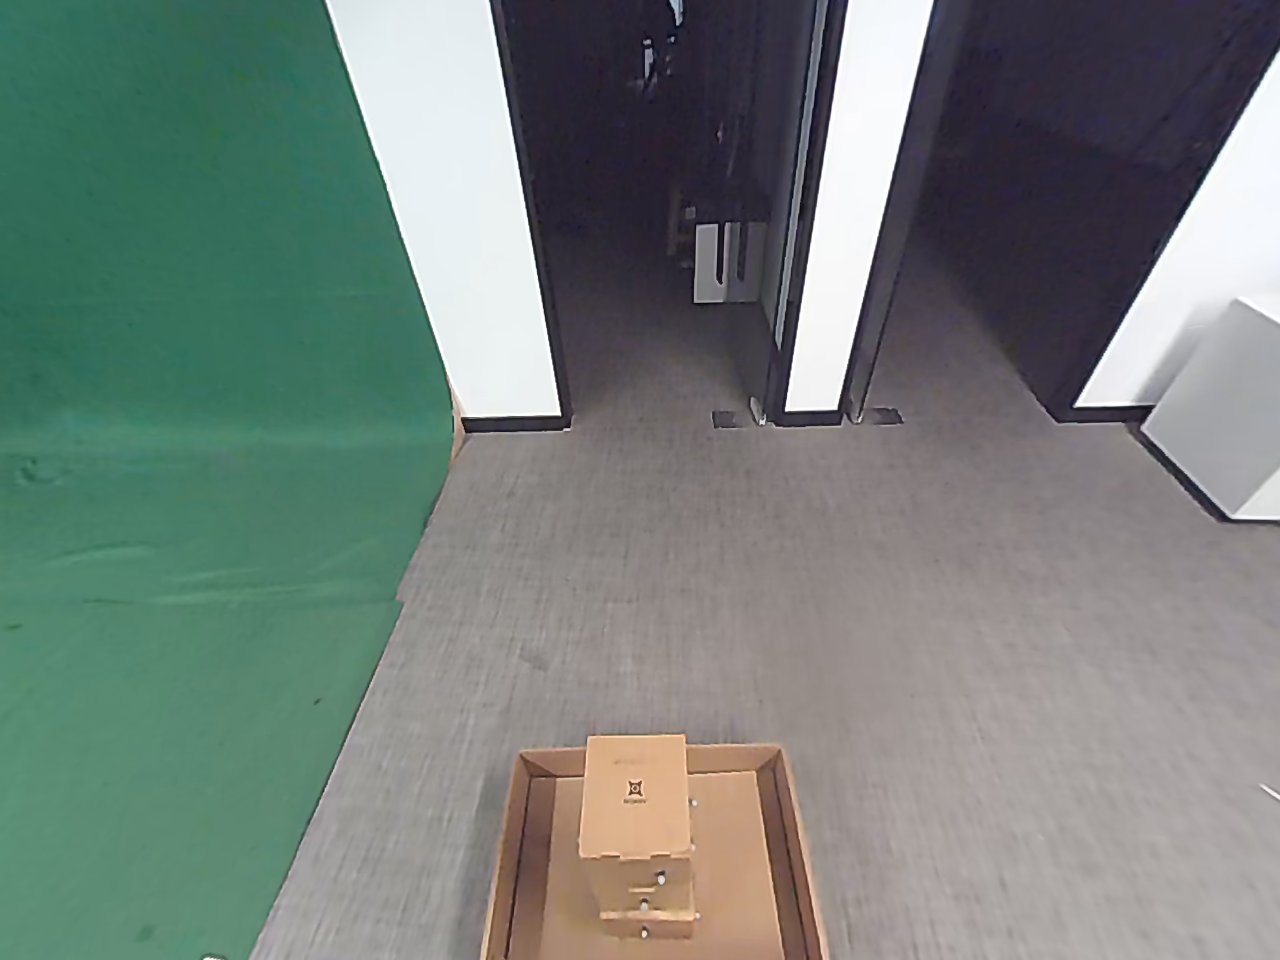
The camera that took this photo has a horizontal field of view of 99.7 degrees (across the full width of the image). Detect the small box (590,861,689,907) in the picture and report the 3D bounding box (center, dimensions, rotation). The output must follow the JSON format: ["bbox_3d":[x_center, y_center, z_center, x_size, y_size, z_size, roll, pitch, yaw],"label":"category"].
[{"bbox_3d":[0.001,0.681,1.018,0.168,0.176,0.179,-5,40,1],"label":"small box"}]

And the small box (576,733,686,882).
[{"bbox_3d":[-0.008,0.545,0.898,0.168,0.176,0.179,-1,40,1],"label":"small box"}]

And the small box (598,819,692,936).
[{"bbox_3d":[0.016,0.813,1.110,0.179,0.176,0.168,-1,40,5],"label":"small box"}]
